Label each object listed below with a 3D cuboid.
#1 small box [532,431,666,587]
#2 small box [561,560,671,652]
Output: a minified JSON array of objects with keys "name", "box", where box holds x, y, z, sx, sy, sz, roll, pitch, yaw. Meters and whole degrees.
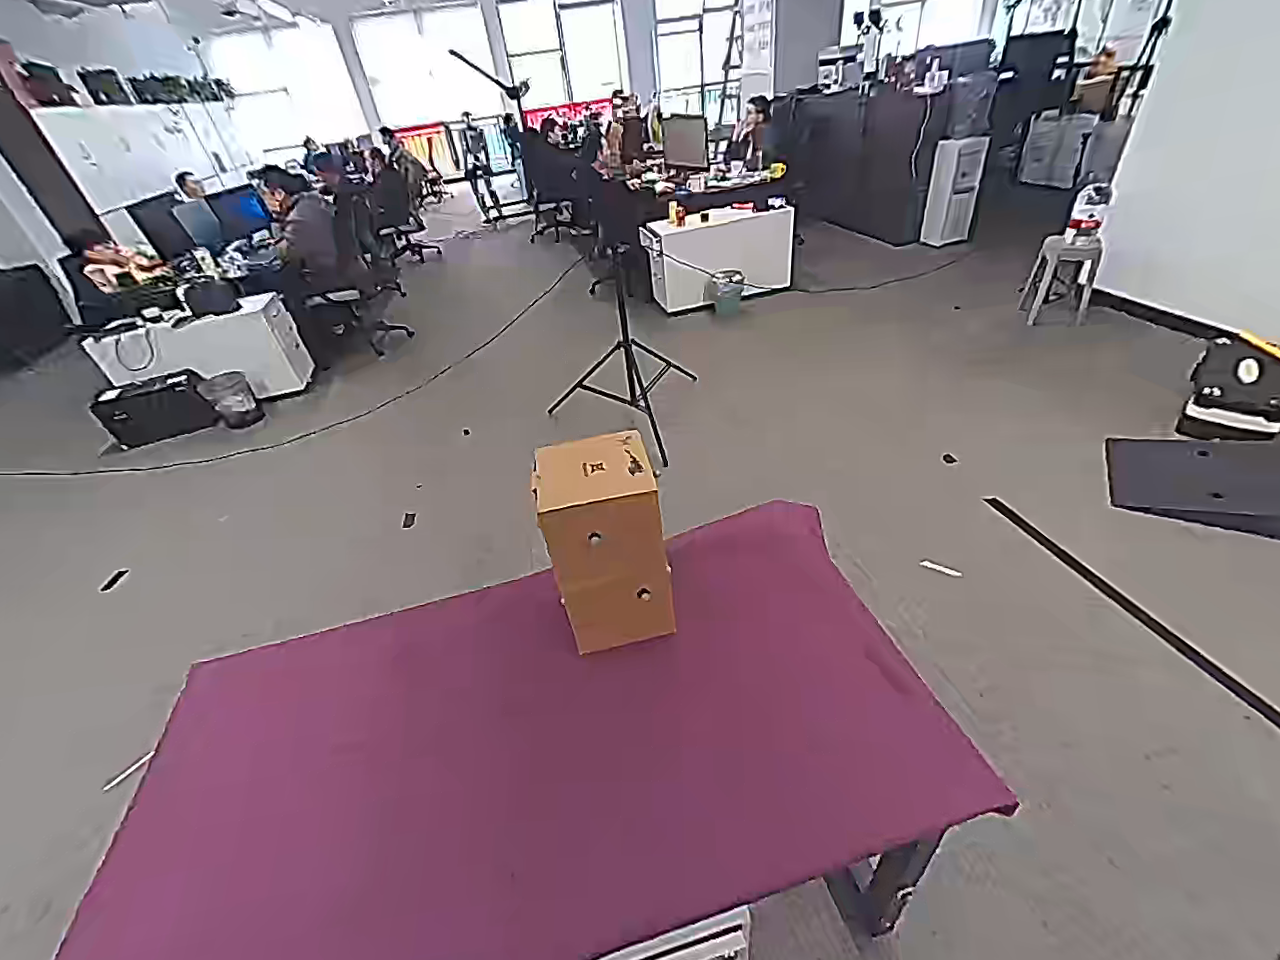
[{"name":"small box","box":[-0.065,0.048,0.864,0.179,0.176,0.168,-12,38,-3]},{"name":"small box","box":[-0.045,0.178,0.963,0.179,0.176,0.168,-12,38,-5]}]
